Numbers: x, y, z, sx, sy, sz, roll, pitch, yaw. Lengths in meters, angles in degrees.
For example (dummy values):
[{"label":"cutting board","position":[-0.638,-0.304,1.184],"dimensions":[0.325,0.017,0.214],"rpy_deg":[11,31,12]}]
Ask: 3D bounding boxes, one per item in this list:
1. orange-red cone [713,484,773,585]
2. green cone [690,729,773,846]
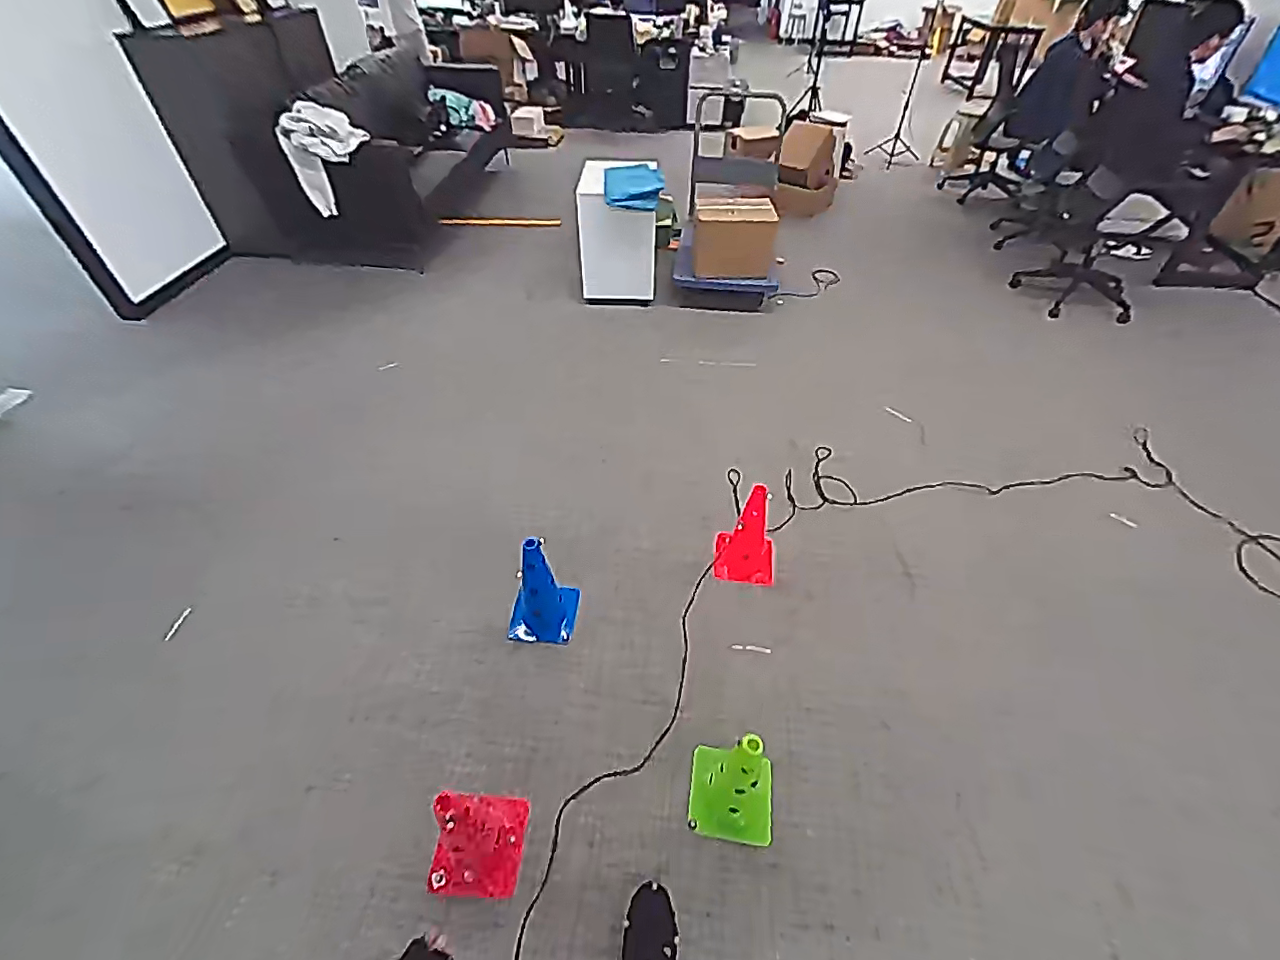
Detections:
[{"label":"orange-red cone","position":[0.353,0.149,1.732],"dimensions":[0.198,0.360,0.199],"rpy_deg":[7,47,8]},{"label":"green cone","position":[0.232,0.659,1.222],"dimensions":[0.200,0.368,0.202],"rpy_deg":[7,45,5]}]
